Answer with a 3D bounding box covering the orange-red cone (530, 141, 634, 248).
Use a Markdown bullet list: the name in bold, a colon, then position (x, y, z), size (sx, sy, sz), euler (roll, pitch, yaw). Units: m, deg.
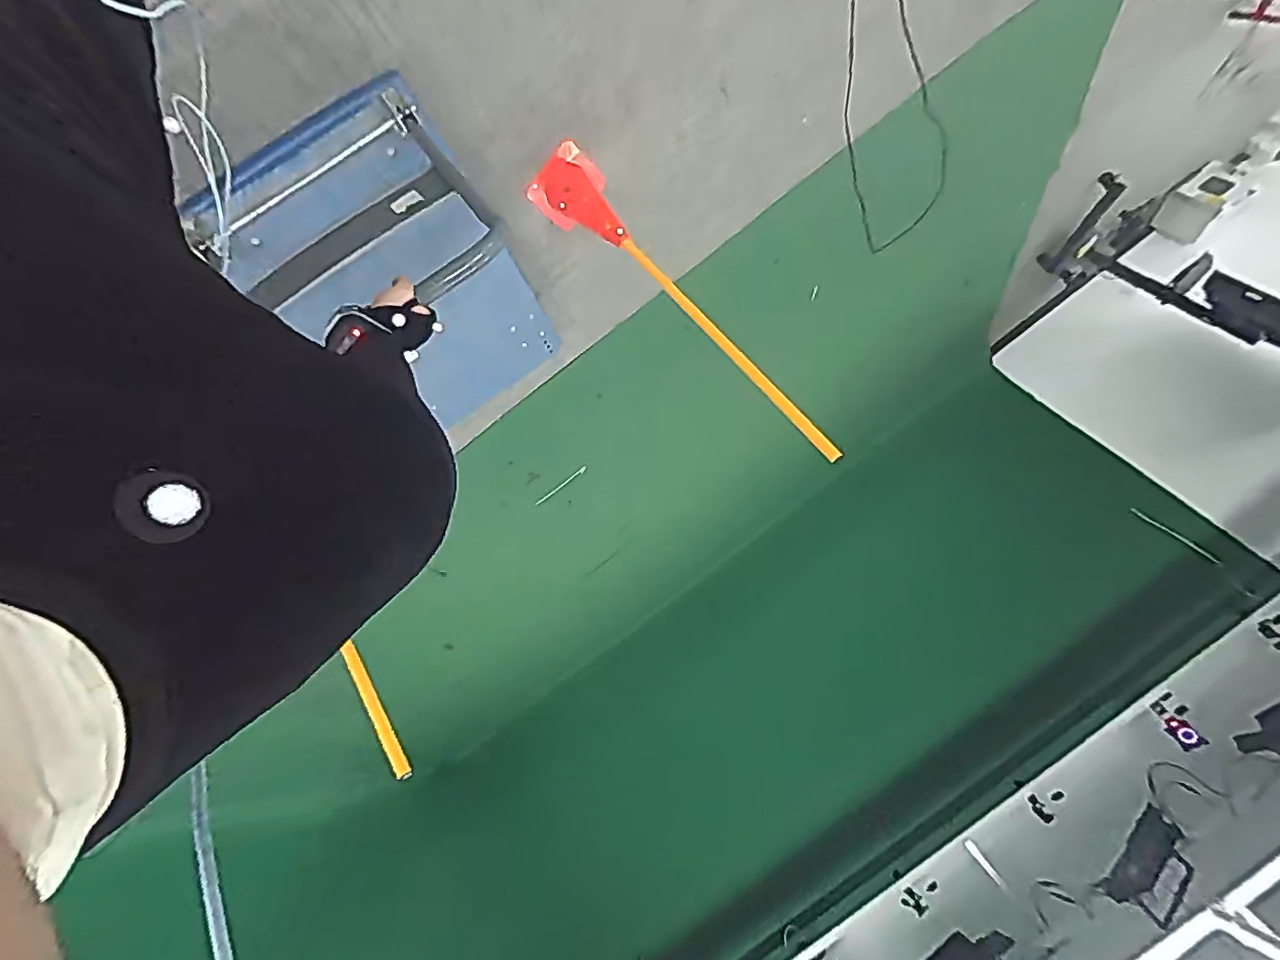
- **orange-red cone**: position (-0.124, -0.767, 1.544), size (0.199, 0.360, 0.198), euler (-46, 151, 13)
